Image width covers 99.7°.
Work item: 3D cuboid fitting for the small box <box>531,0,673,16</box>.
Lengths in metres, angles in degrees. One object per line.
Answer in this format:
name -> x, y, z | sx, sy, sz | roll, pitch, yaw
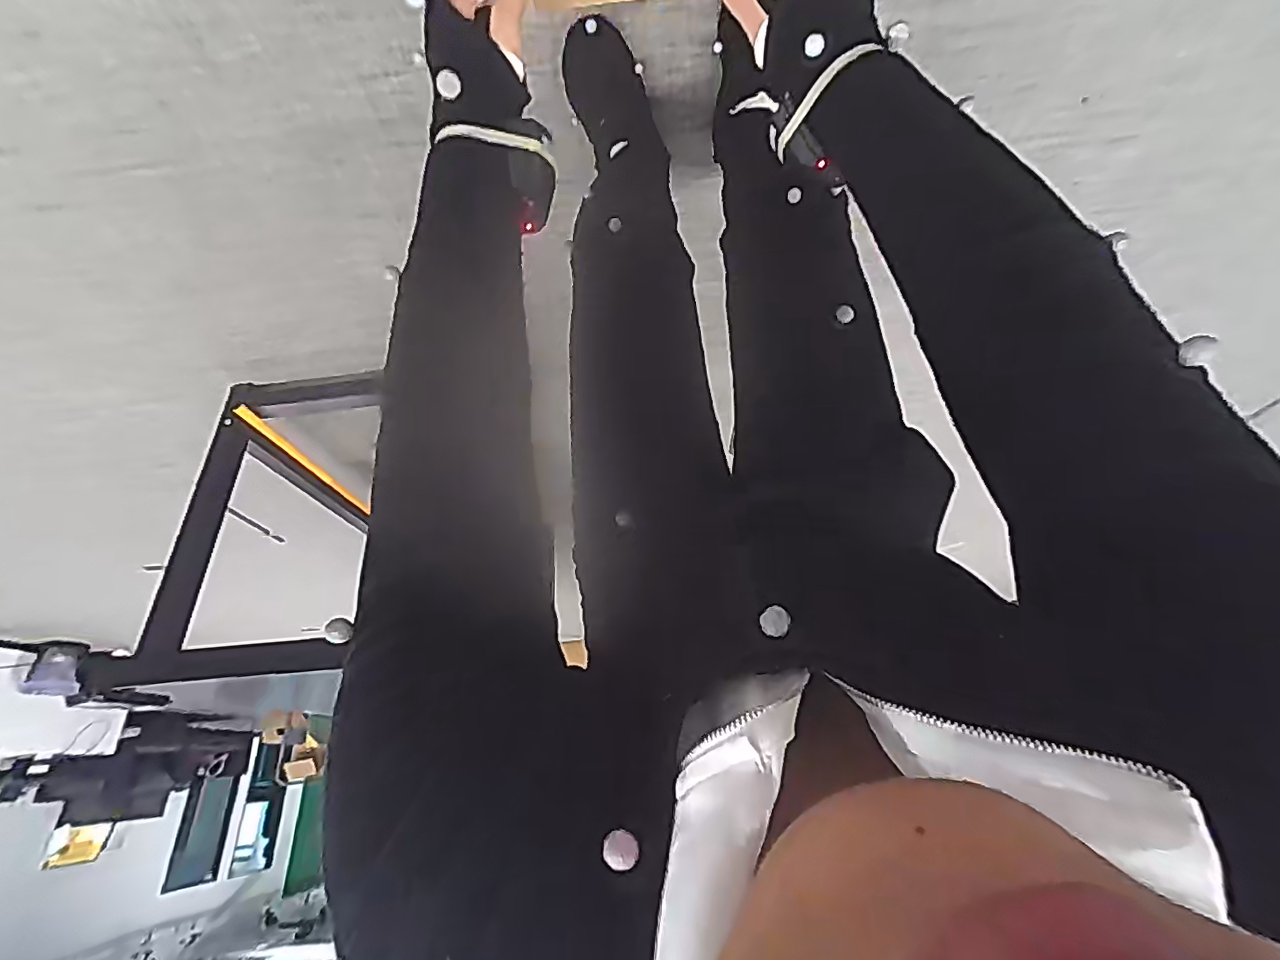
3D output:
small box -> -0.026, -0.539, 0.449 | 0.168, 0.176, 0.179 | -4, 154, 3
